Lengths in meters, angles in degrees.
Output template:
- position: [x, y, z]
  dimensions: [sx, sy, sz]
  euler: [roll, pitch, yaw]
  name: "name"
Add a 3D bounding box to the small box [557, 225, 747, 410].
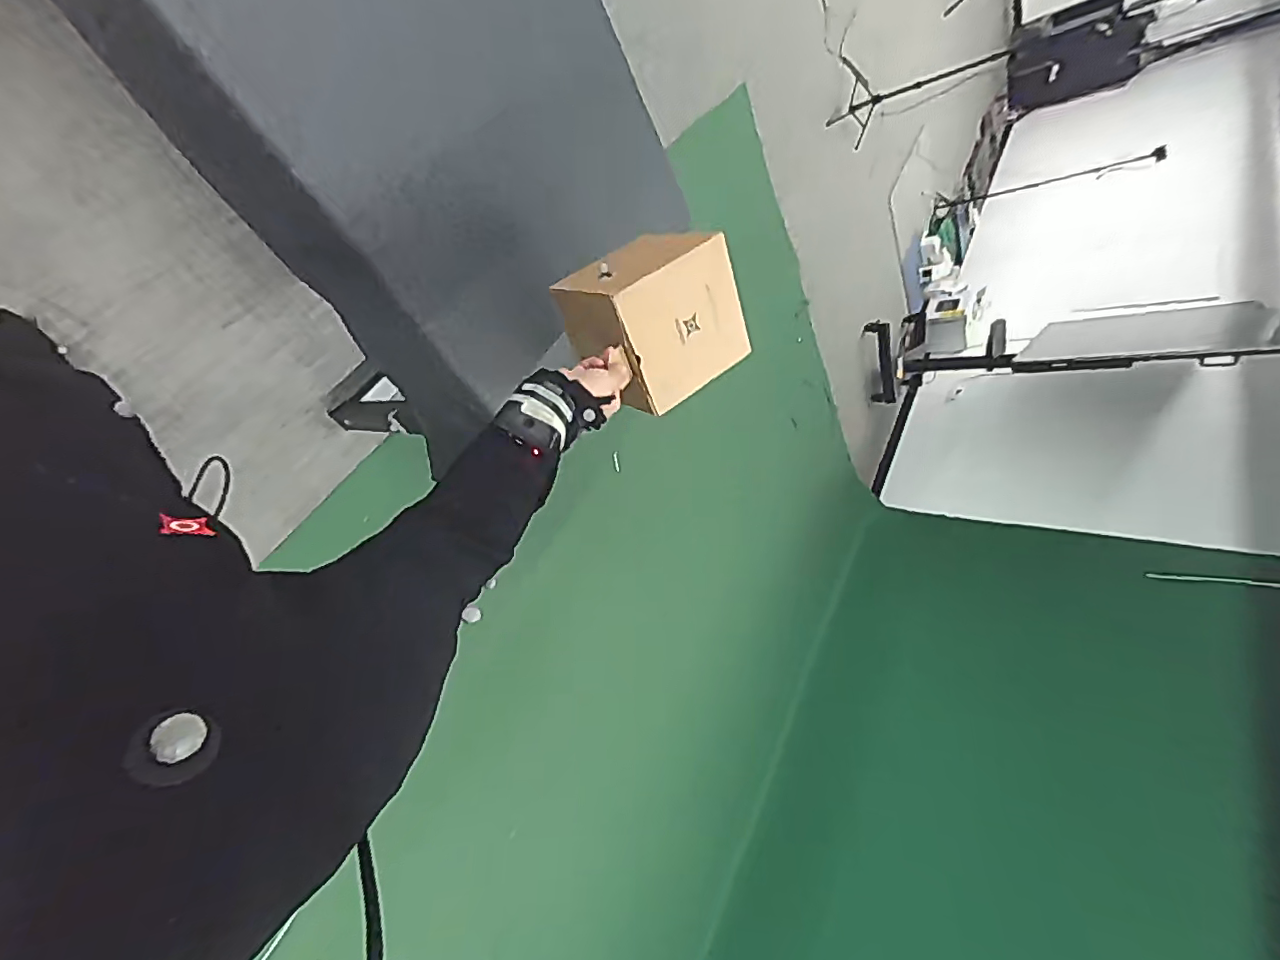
- position: [0.010, -0.221, 0.725]
  dimensions: [0.179, 0.176, 0.168]
  euler: [-38, 128, -19]
  name: "small box"
